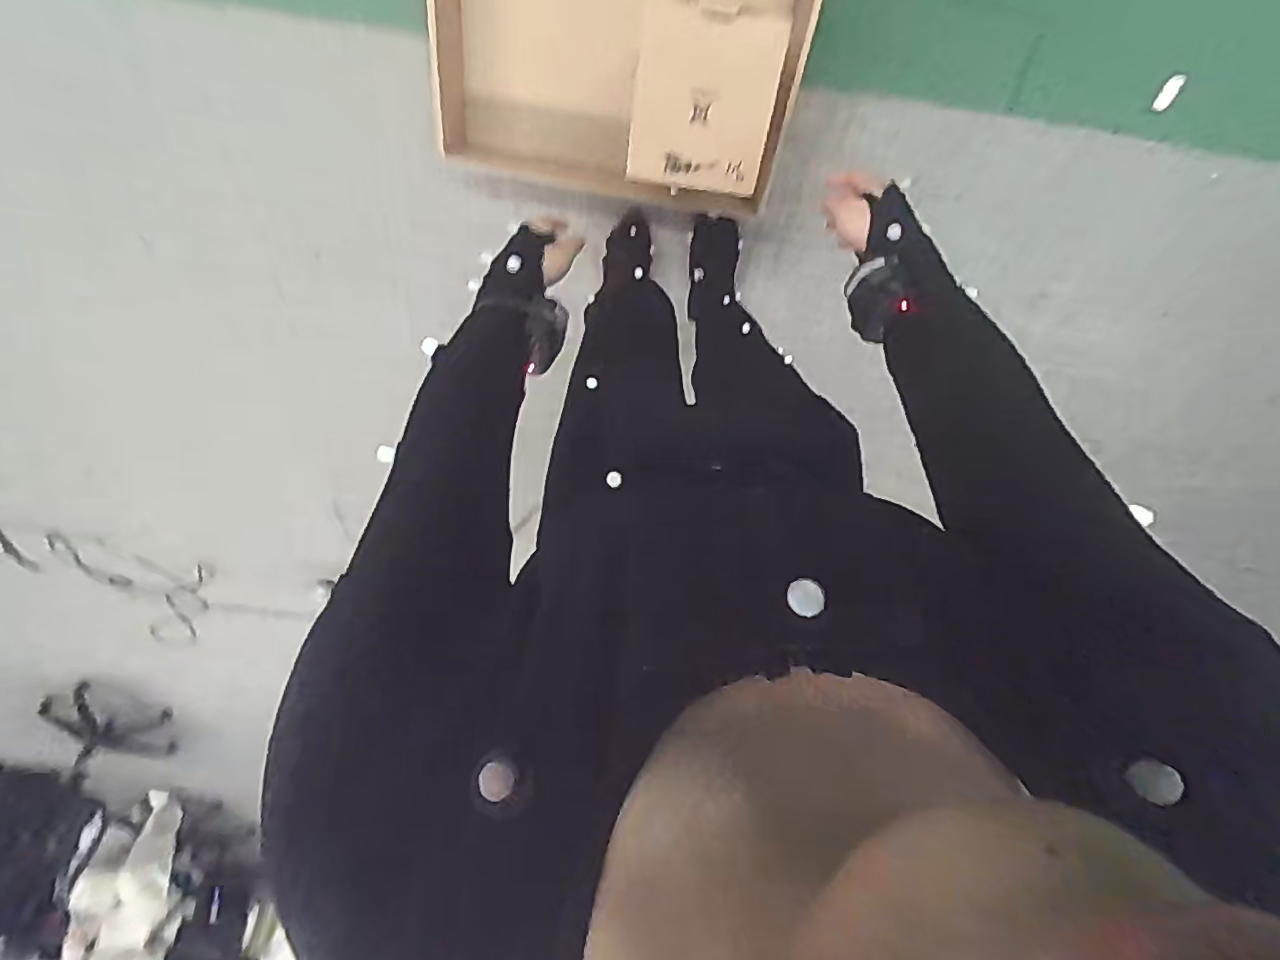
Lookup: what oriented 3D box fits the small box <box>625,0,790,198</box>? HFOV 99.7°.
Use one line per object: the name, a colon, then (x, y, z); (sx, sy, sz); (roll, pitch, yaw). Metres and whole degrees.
small box: (0.076, -0.481, 0.692); (0.168, 0.176, 0.179); (8, 127, 0)
